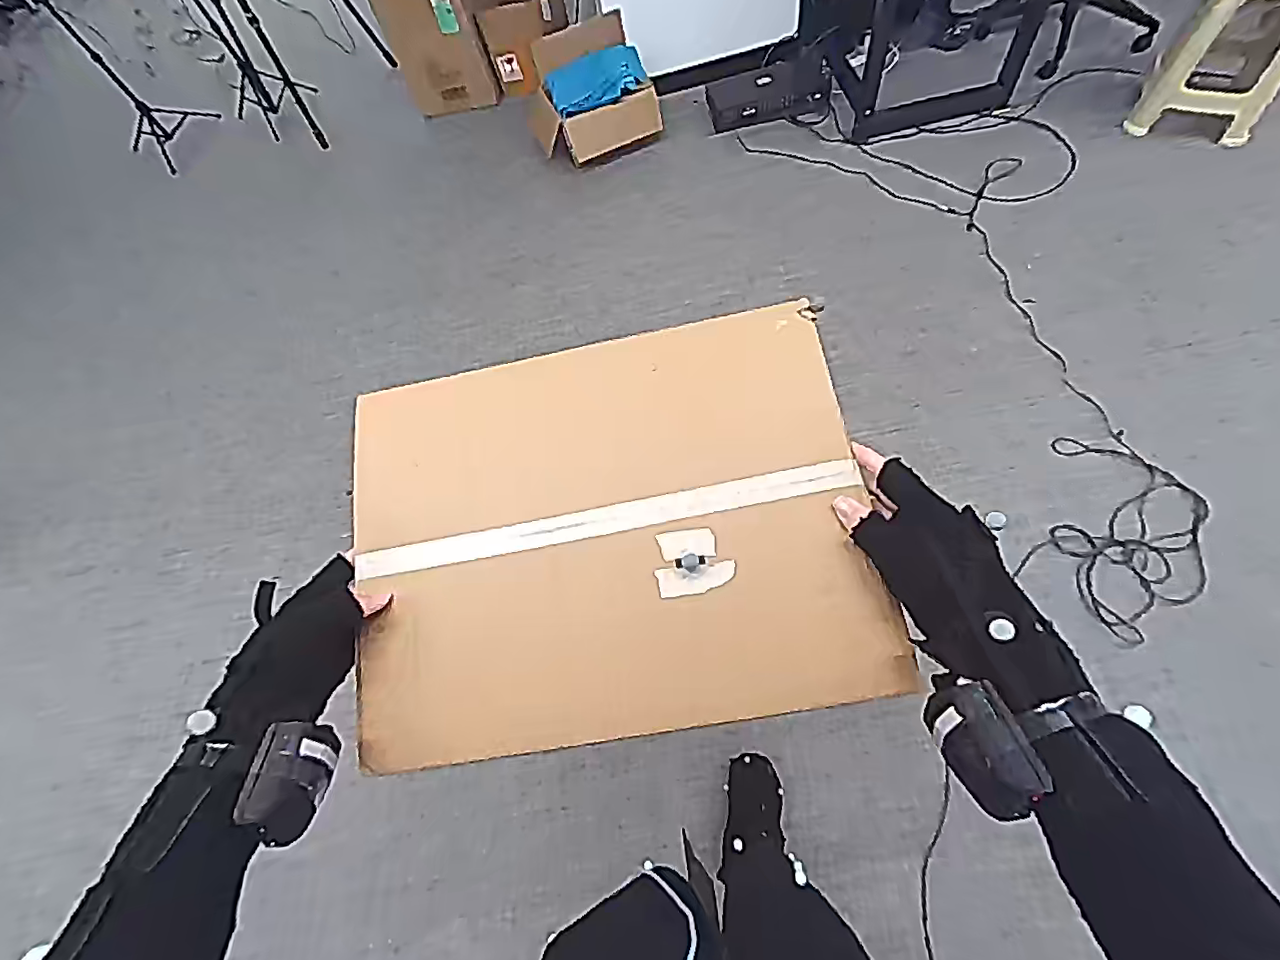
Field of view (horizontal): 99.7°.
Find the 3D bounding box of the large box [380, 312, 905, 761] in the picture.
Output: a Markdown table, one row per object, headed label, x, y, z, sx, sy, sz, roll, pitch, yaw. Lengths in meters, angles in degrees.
| label | x | y | z | sx | sy | sz | roll | pitch | yaw |
| --- | --- | --- | --- | --- | --- | --- | --- | --- | --- |
| large box | -0.008 | 0.076 | 0.587 | 0.408 | 0.320 | 0.320 | -11 | 73 | 4 |
